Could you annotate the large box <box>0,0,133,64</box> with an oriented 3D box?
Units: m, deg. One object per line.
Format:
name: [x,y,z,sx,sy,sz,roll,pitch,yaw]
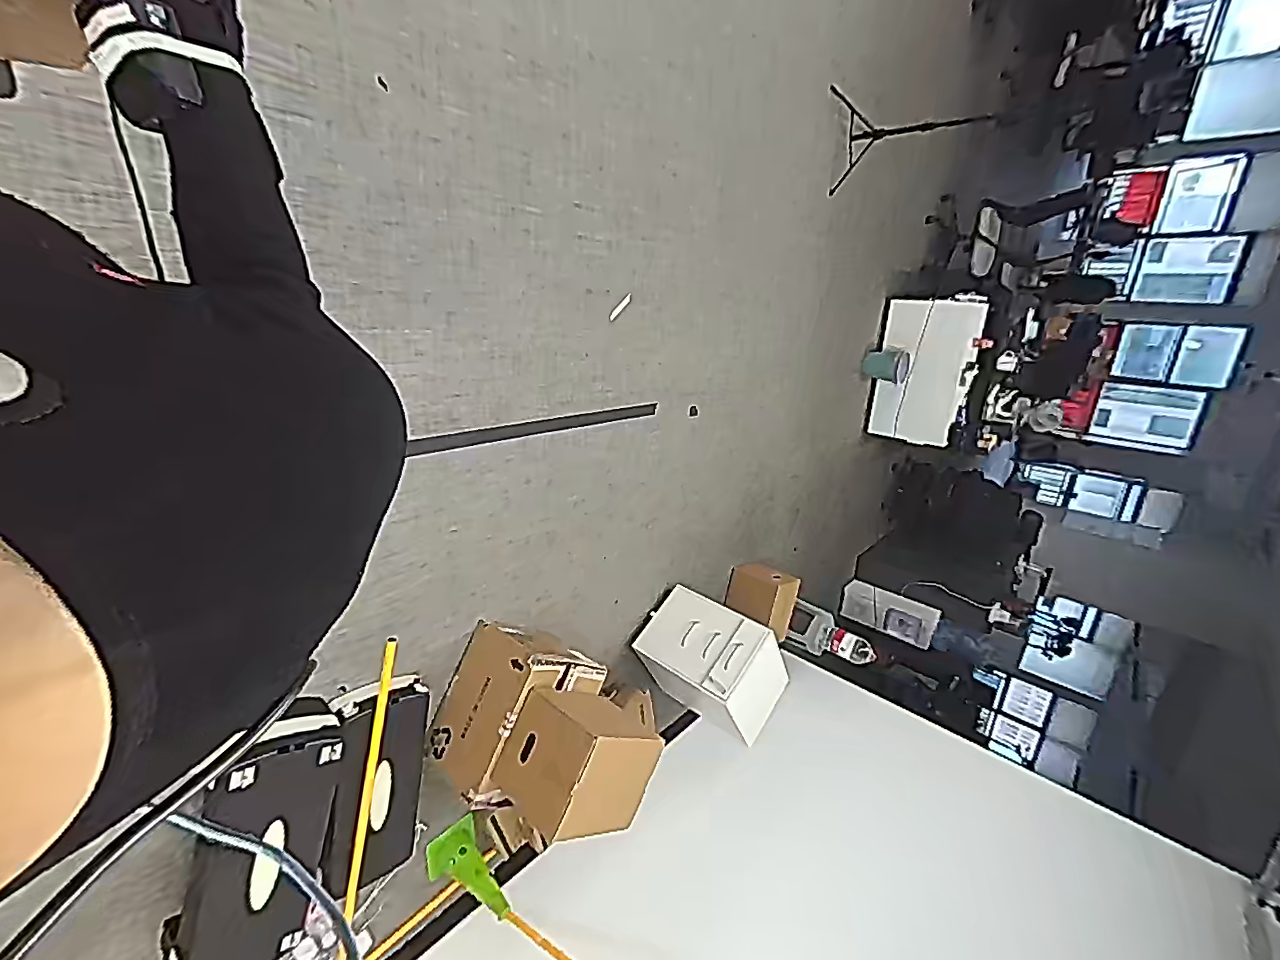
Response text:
large box: [-0.592,-0.455,0.267,0.408,0.320,0.320,-25,127,-44]
